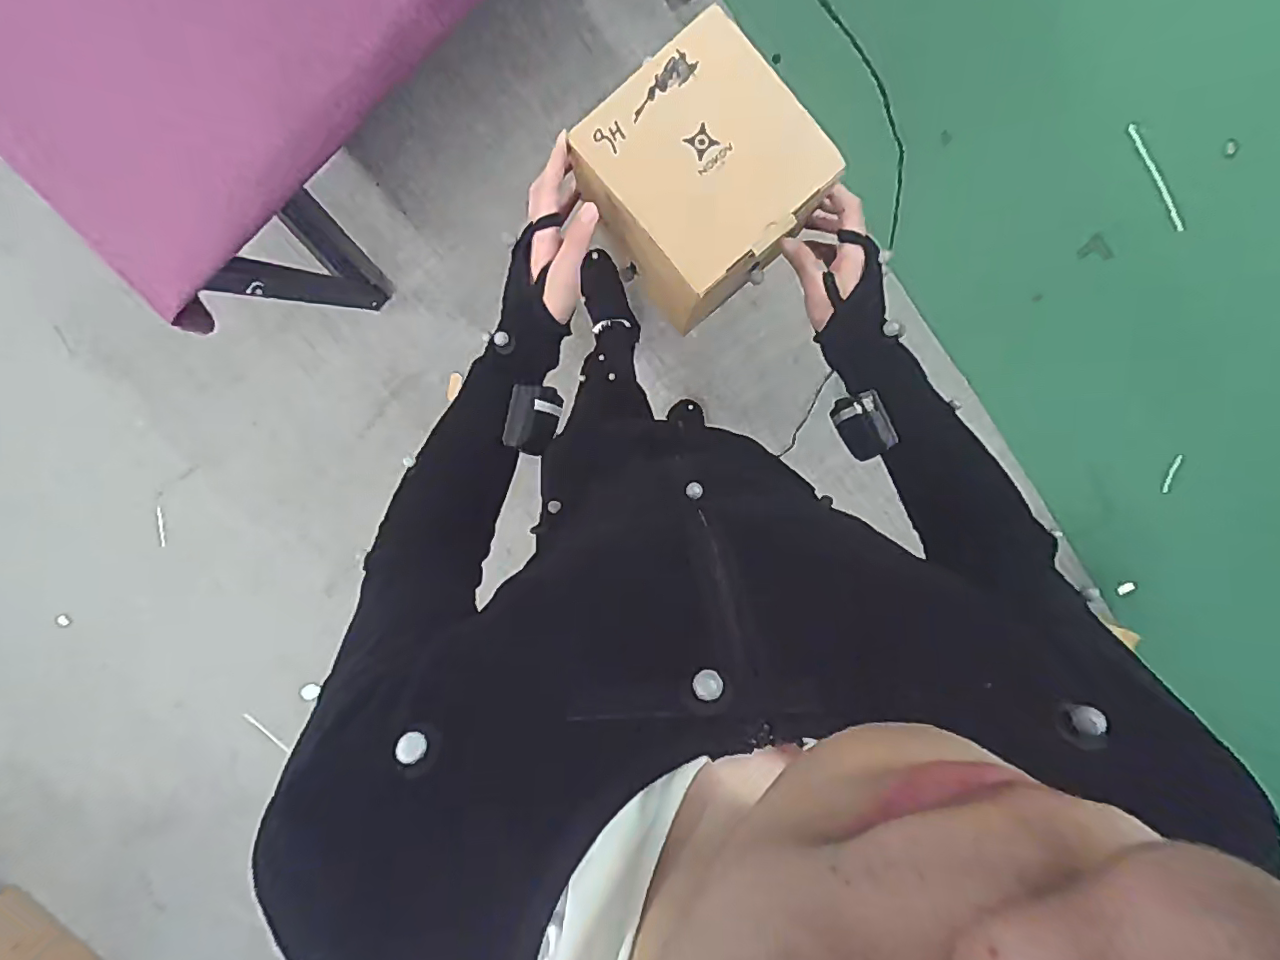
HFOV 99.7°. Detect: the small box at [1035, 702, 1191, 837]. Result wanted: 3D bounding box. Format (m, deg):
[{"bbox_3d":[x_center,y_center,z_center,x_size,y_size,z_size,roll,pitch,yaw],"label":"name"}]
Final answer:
[{"bbox_3d":[1.044,0.645,1.218,0.168,0.176,0.179,22,104,-5],"label":"small box"}]
